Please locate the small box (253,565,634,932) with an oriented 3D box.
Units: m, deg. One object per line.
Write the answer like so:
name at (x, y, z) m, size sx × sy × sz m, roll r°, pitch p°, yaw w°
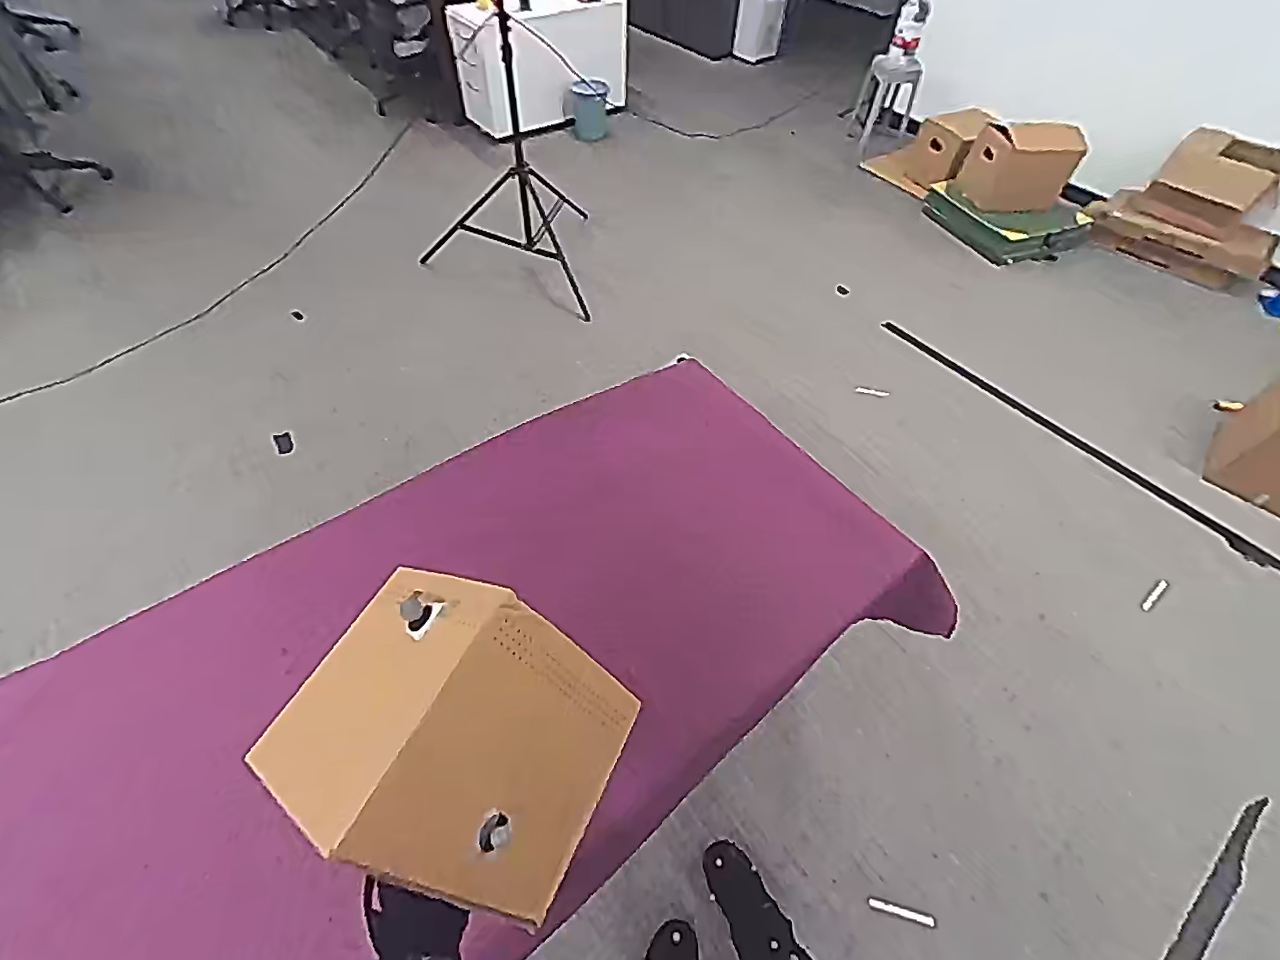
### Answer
small box at (-0.134, 0.187, 0.411) m, size 0.168 × 0.179 × 0.176 m, roll -4°, pitch 45°, yaw 43°
